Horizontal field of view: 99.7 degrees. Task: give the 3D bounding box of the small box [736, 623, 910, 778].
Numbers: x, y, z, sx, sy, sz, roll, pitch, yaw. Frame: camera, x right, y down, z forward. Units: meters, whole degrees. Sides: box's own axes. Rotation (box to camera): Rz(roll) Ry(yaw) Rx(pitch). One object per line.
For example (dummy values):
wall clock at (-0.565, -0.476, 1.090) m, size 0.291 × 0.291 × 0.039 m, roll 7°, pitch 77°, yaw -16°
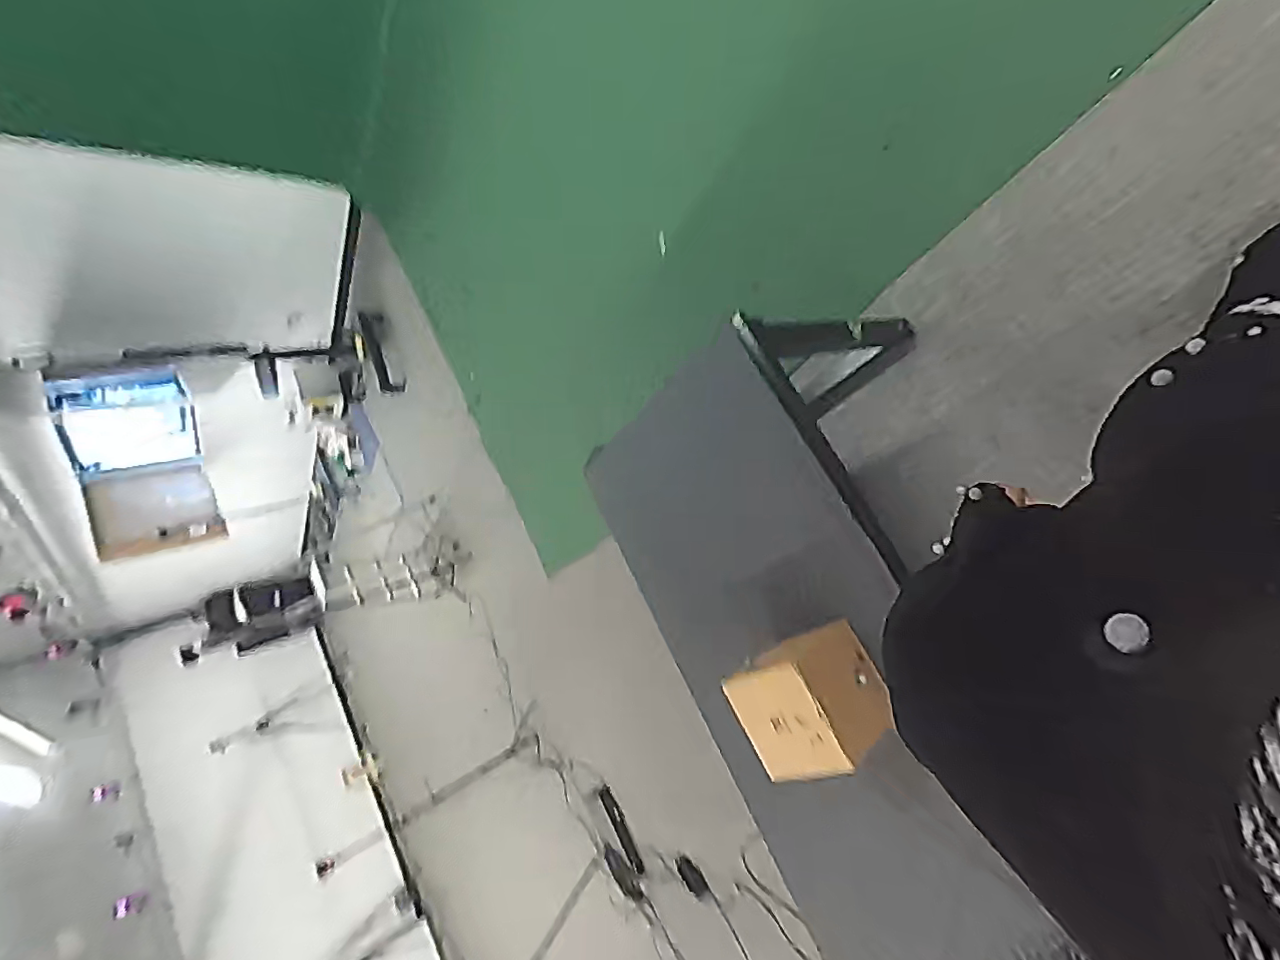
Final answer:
small box at (0.301, 0.361, 0.892) m, size 0.179 × 0.176 × 0.168 m, roll -45°, pitch 70°, yaw 46°
